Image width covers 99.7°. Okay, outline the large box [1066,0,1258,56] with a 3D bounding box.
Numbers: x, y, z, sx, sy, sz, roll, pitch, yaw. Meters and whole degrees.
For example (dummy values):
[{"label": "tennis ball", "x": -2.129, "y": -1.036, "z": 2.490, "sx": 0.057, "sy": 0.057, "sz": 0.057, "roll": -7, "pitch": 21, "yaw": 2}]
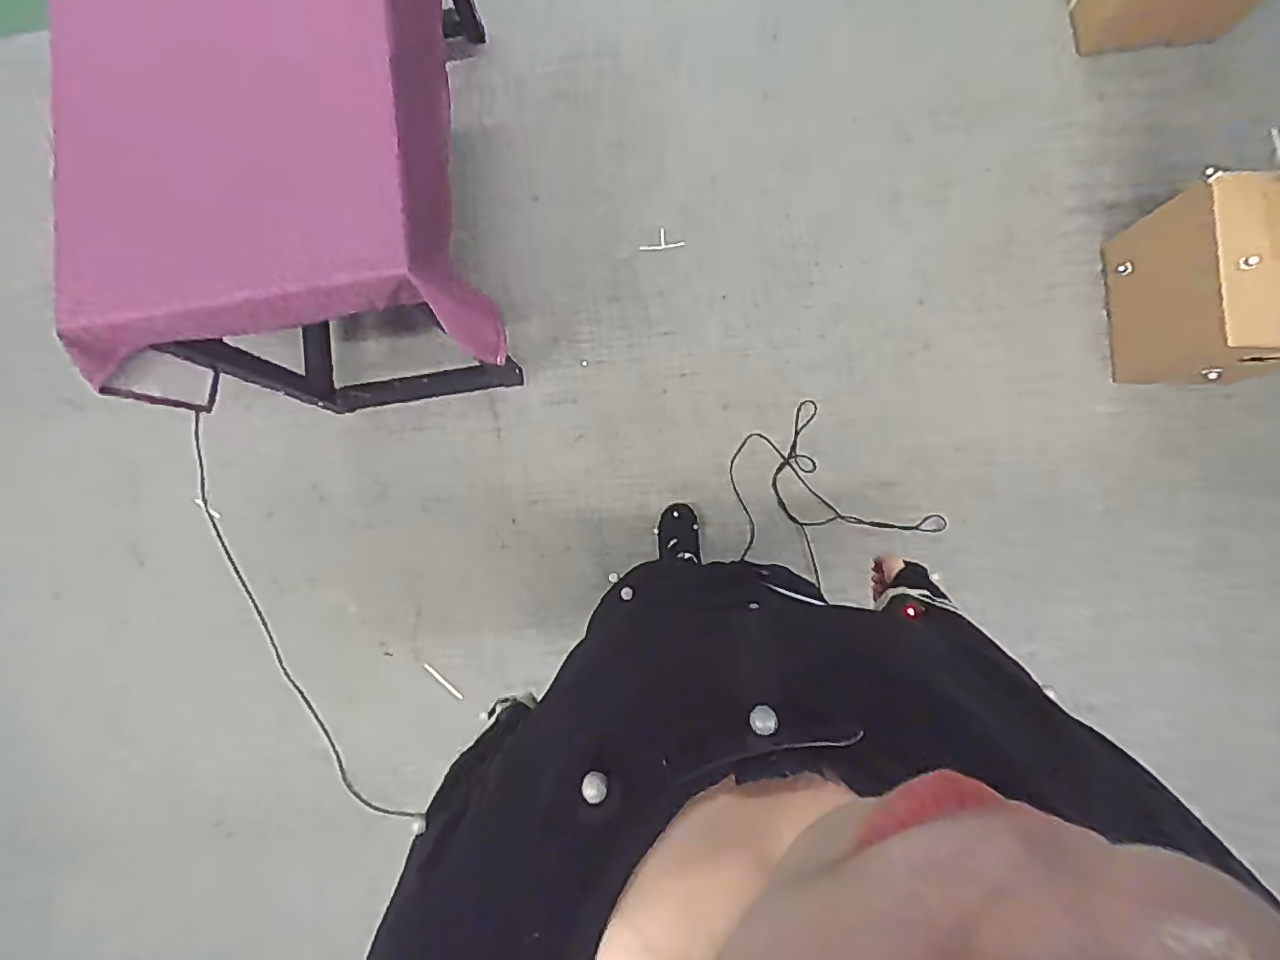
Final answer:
[{"label": "large box", "x": 1.449, "y": -1.417, "z": 1.439, "sx": 0.408, "sy": 0.320, "sz": 0.320, "roll": -6, "pitch": 84, "yaw": 2}]
